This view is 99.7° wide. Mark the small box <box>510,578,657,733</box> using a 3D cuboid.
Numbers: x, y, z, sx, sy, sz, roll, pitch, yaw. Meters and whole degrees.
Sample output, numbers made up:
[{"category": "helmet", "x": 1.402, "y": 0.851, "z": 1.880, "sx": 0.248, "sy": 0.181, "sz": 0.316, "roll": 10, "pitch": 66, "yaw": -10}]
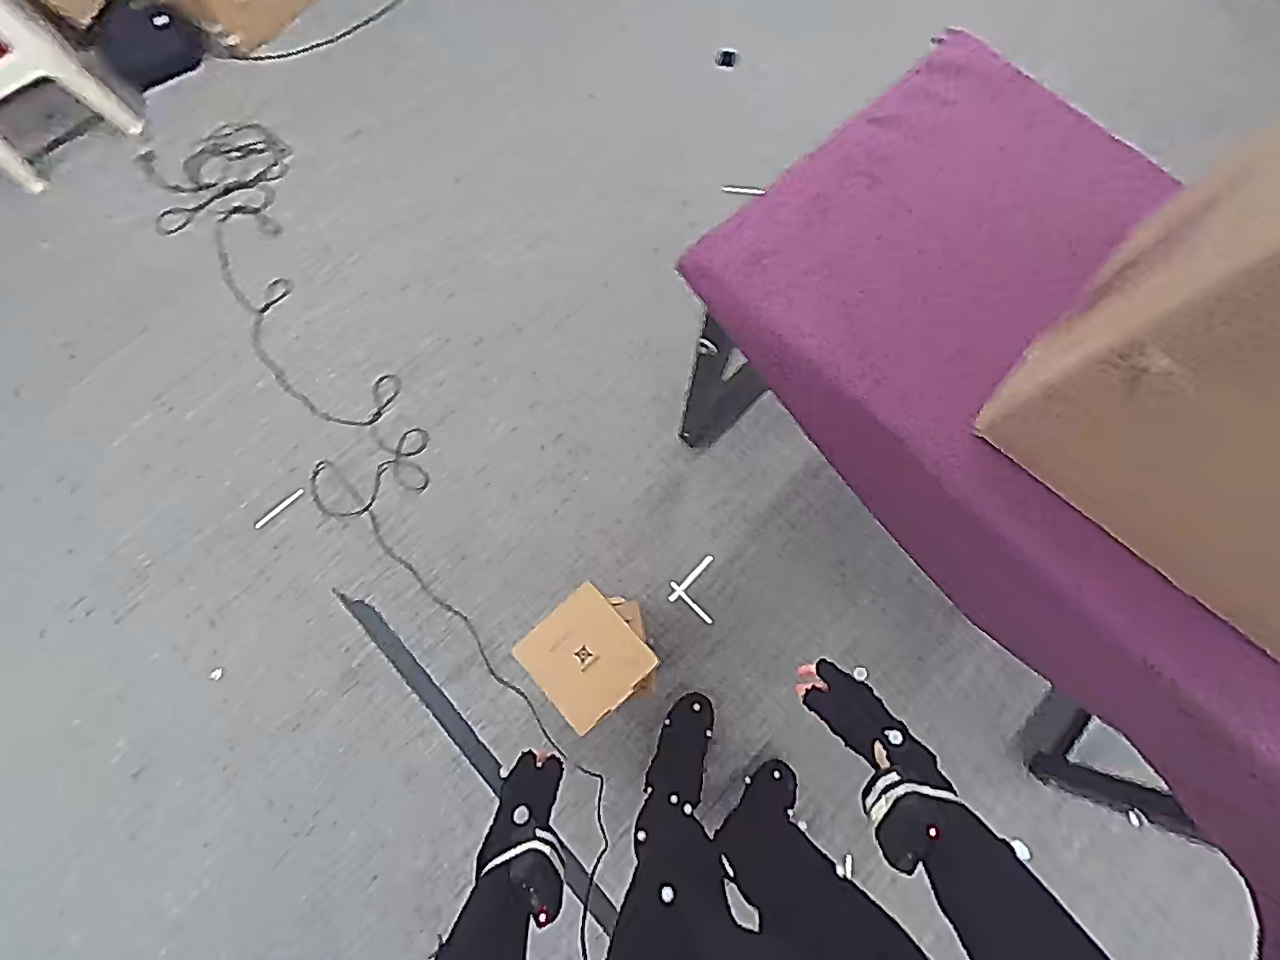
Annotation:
[{"category": "small box", "x": -0.088, "y": 0.290, "z": 0.920, "sx": 0.168, "sy": 0.176, "sz": 0.179, "roll": -42, "pitch": 79, "yaw": -11}]

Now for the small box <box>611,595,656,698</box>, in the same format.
[{"category": "small box", "x": -0.068, "y": 0.337, "z": 1.076, "sx": 0.168, "sy": 0.176, "sz": 0.179, "roll": -11, "pitch": 75, "yaw": -3}]
